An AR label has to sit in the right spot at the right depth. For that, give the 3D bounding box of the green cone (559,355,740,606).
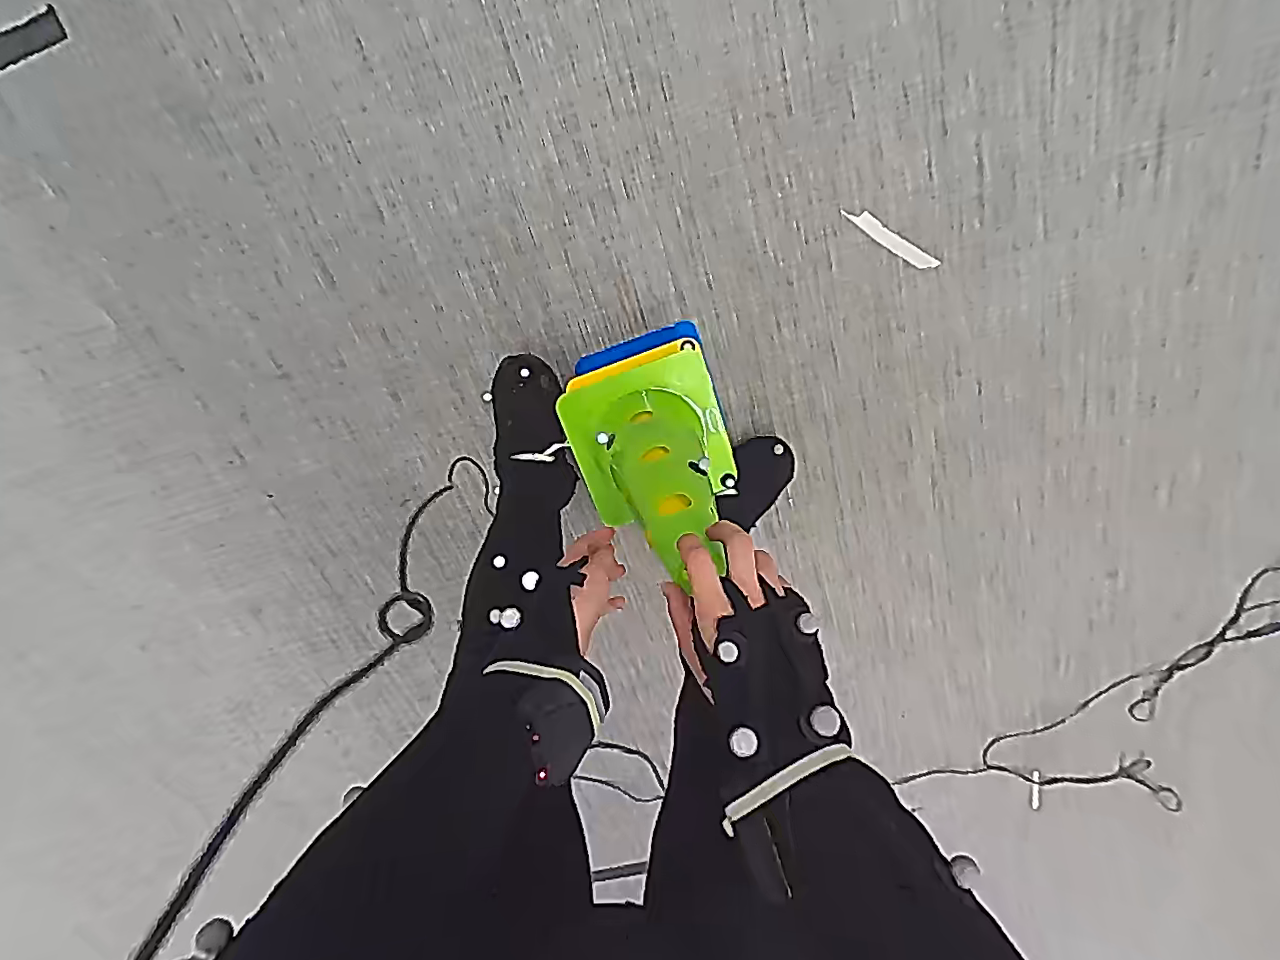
[{"bbox_3d":[0.029,0.011,0.551,0.202,0.368,0.200,-20,109,3],"label":"green cone"}]
